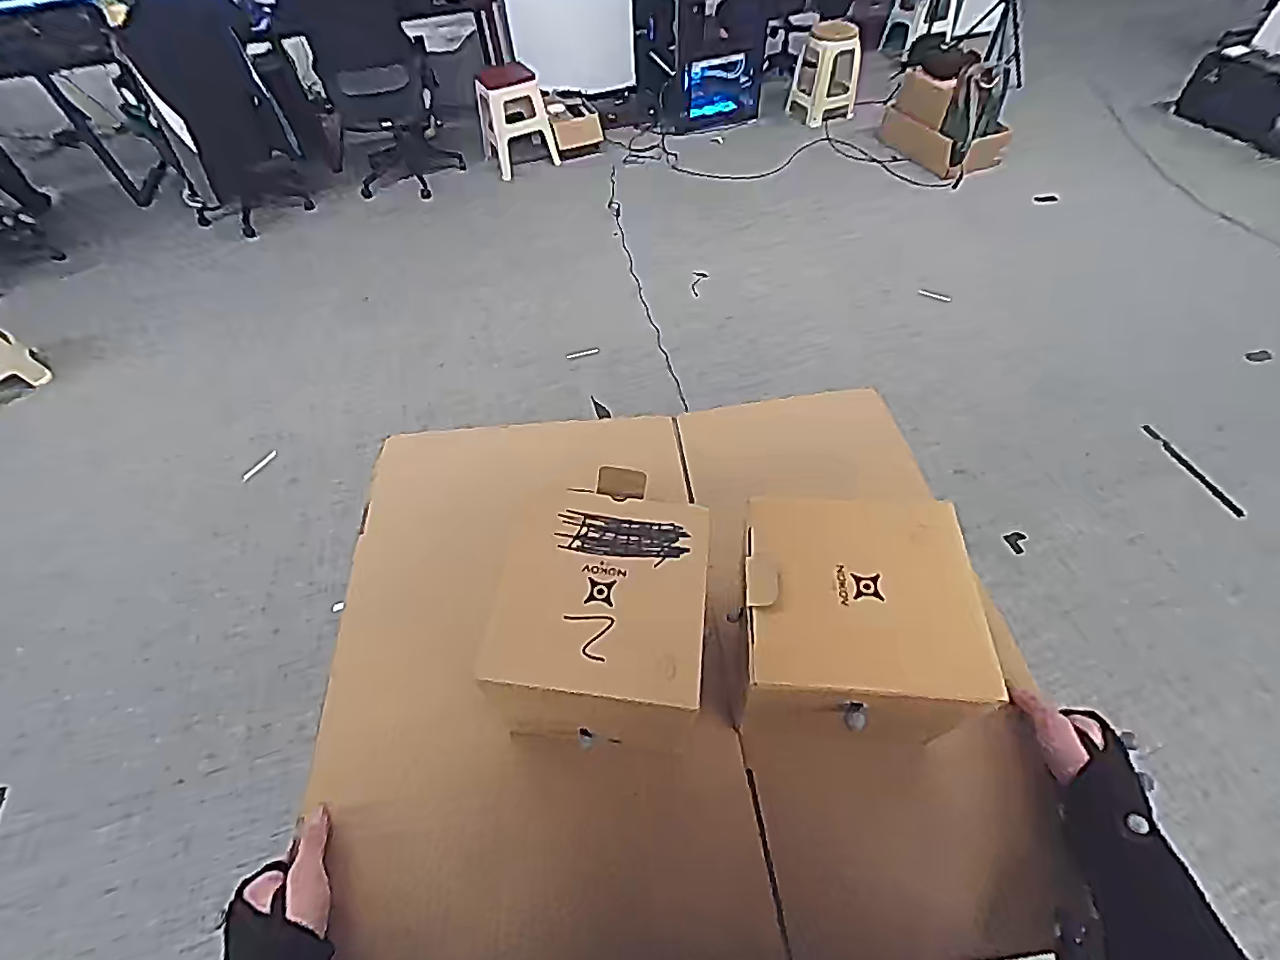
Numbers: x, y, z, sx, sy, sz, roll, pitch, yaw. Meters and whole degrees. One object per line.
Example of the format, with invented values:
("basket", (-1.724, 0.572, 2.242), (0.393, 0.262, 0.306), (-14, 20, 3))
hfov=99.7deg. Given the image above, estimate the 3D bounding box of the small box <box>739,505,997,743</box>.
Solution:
("small box", (0.185, 0.139, 0.505), (0.179, 0.176, 0.168), (1, 54, 8))
